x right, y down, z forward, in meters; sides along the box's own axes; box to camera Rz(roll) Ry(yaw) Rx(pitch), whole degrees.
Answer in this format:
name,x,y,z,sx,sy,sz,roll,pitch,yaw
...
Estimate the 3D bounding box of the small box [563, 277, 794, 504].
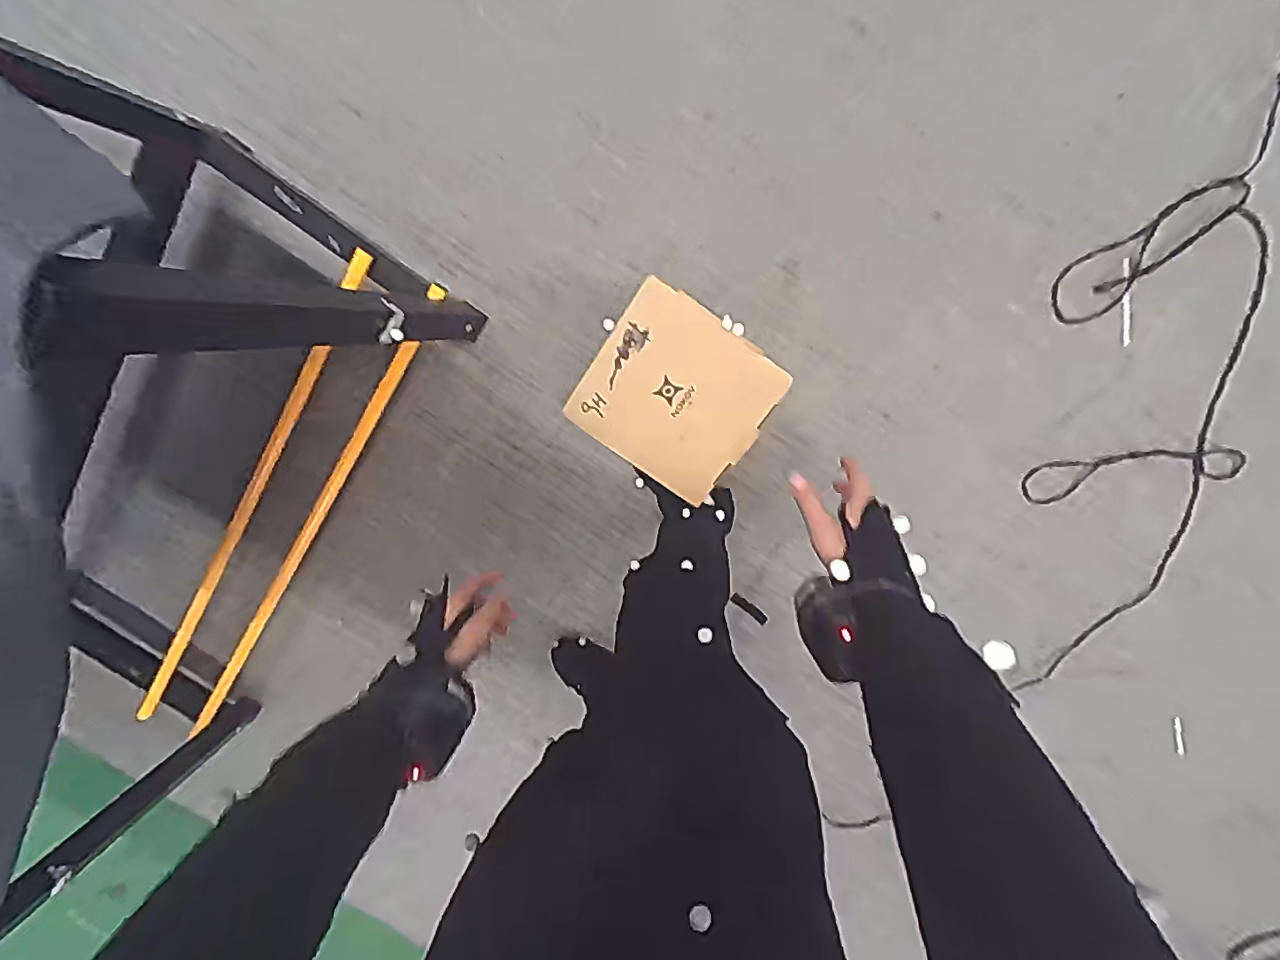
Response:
name,x,y,z,sx,sy,sz,roll,pitch,yaw
small box,0.042,-0.106,0.616,0.179,0.176,0.168,35,105,-5
